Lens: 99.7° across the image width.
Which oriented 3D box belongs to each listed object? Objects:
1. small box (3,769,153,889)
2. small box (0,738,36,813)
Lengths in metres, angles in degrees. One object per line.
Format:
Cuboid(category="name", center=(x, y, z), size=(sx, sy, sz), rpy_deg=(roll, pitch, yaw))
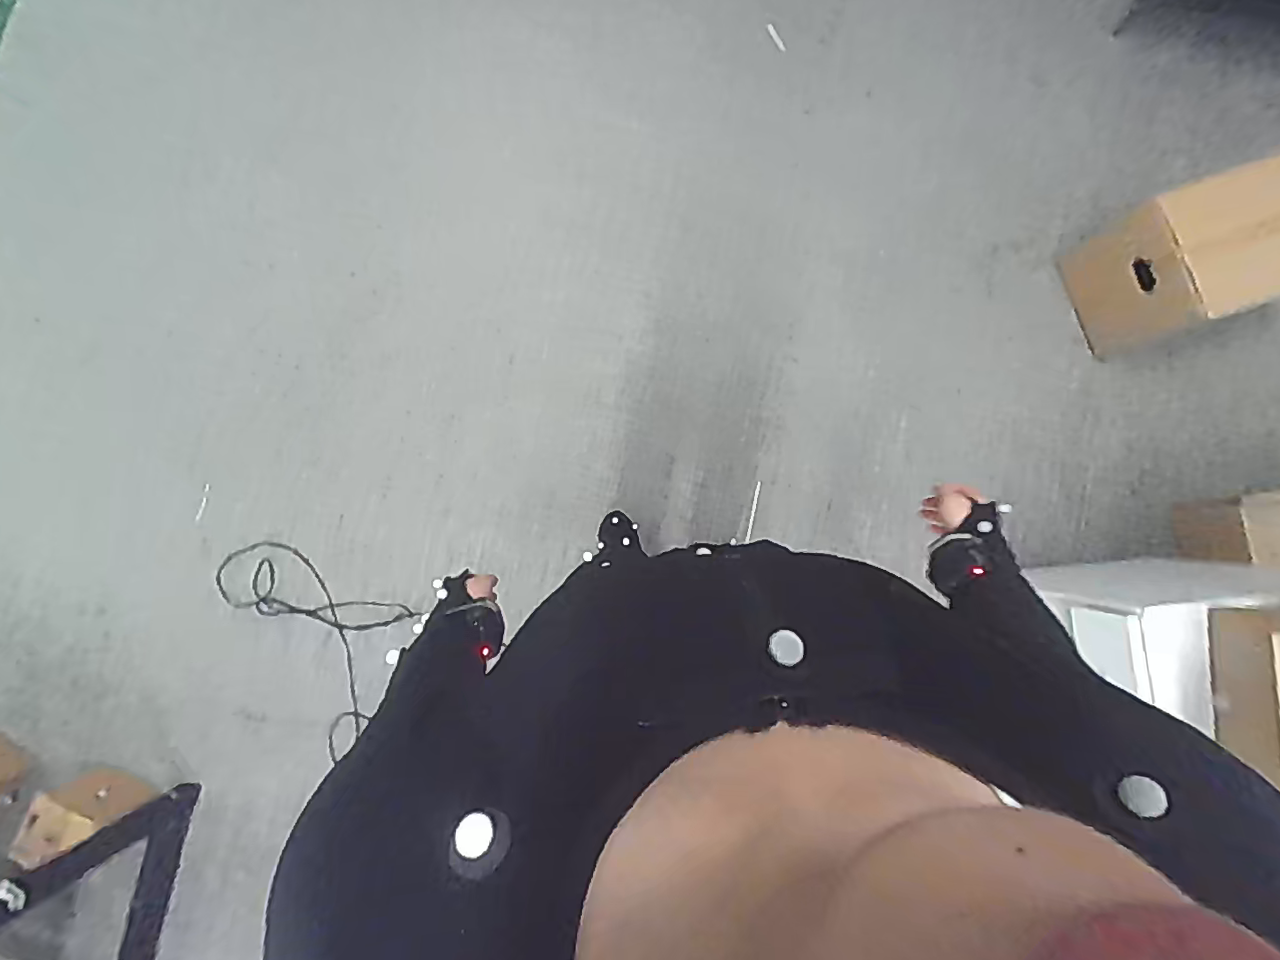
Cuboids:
Cuboid(category="small box", center=(-1.412, 0.874, 1.373), size=(0.179, 0.176, 0.168), rpy_deg=(25, 86, 2))
Cuboid(category="small box", center=(-1.747, 0.785, 1.384), size=(0.179, 0.176, 0.168), rpy_deg=(33, 87, 2))
